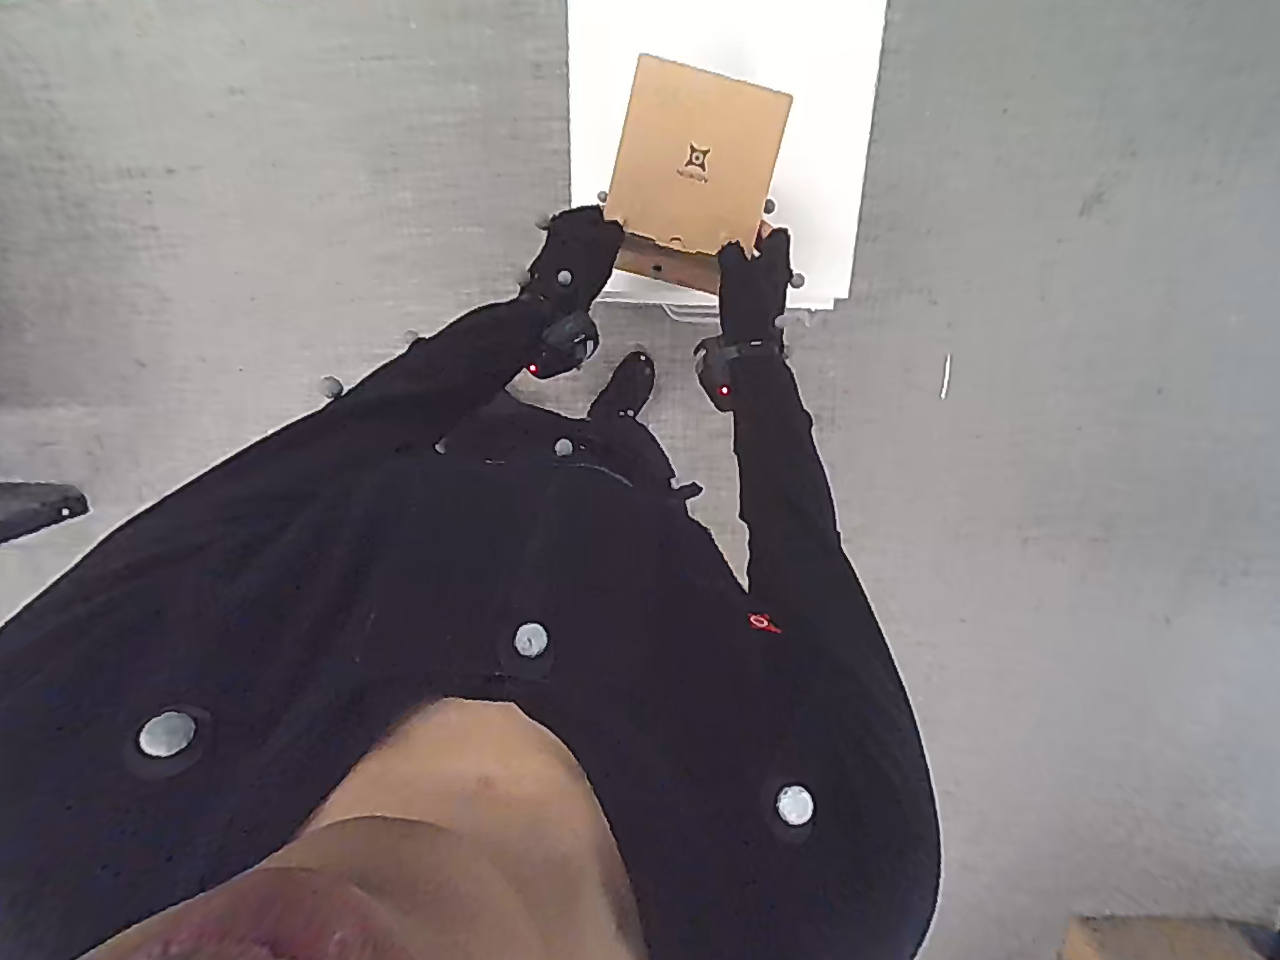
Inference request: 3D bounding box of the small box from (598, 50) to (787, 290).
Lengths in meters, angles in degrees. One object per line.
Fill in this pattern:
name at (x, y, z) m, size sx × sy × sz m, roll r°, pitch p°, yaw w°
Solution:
small box at (0.050, -0.343, 0.637) m, size 0.168 × 0.176 × 0.179 m, roll 13°, pitch 99°, yaw -3°
